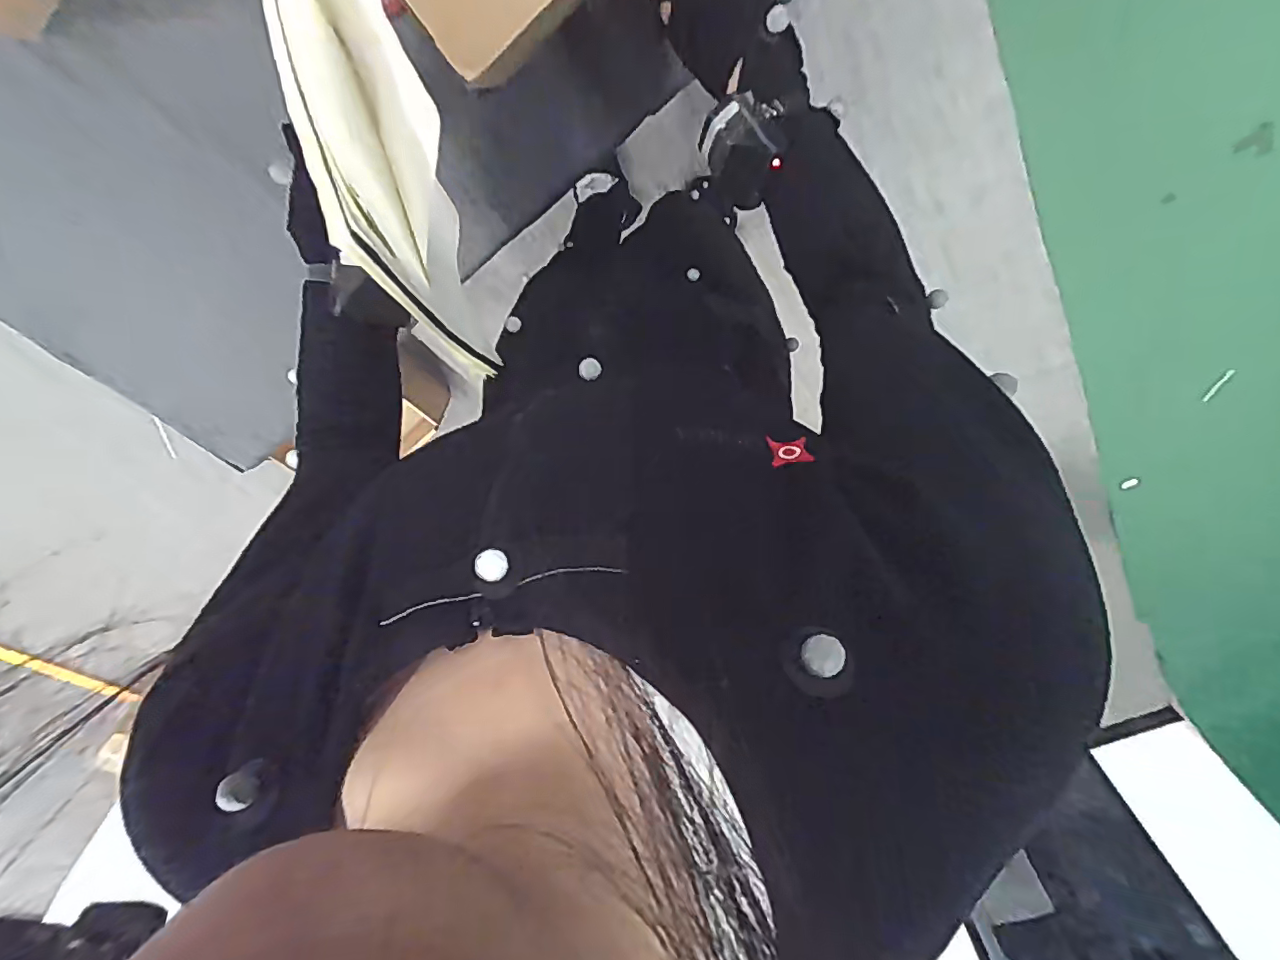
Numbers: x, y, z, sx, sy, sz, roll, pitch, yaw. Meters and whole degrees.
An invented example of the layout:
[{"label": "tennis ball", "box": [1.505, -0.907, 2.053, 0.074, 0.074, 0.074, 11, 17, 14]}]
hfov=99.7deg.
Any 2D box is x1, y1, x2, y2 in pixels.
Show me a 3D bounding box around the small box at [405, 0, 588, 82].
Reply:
[{"label": "small box", "box": [-0.108, -0.422, 0.381, 0.179, 0.176, 0.168, -32, 122, 15]}]
